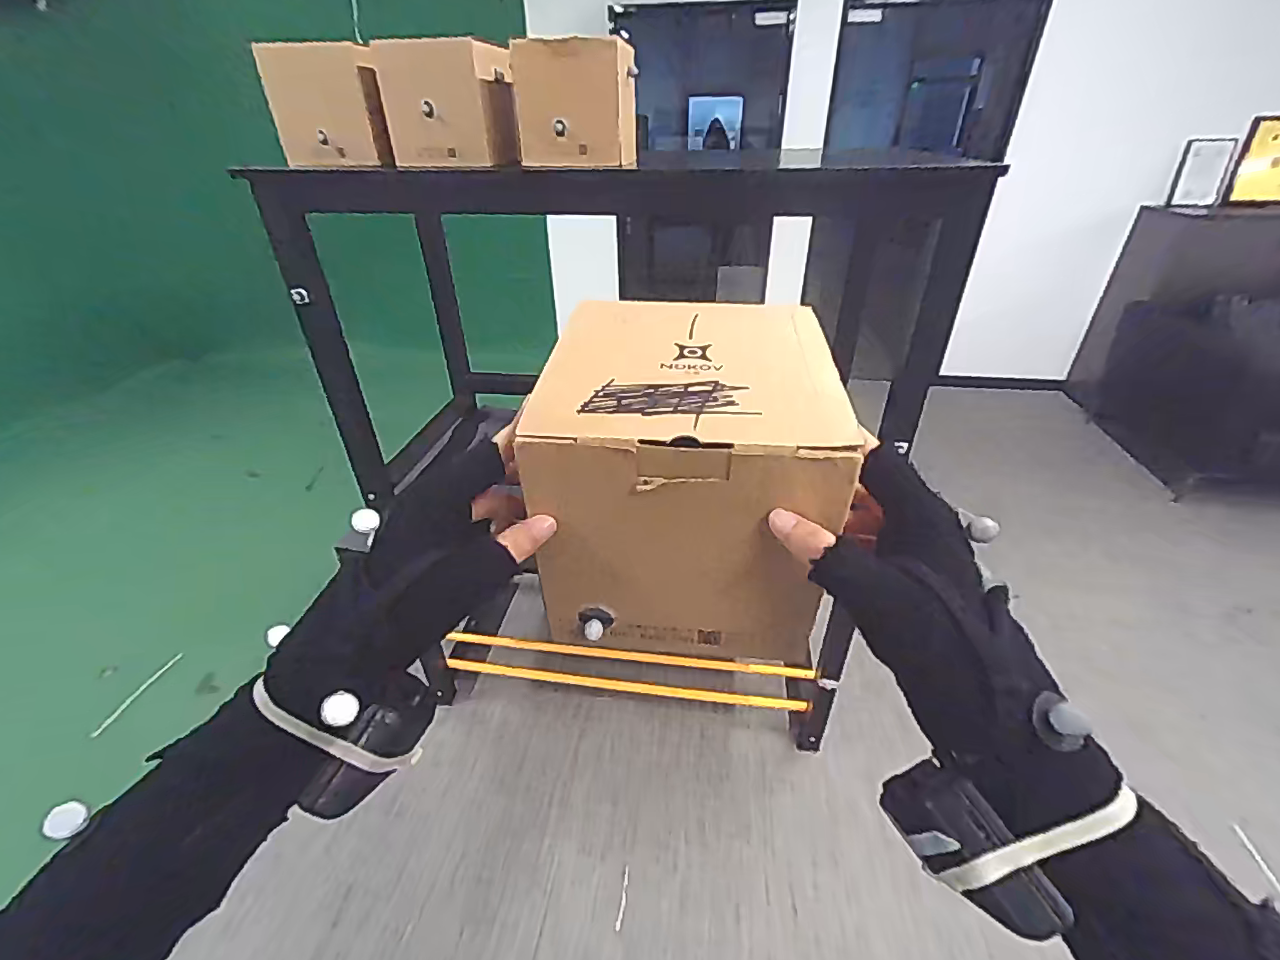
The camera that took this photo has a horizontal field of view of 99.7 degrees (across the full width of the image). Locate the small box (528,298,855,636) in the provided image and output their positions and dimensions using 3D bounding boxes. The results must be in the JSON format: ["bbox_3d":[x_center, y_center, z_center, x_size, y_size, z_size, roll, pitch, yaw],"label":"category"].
[{"bbox_3d":[0.034,-0.013,0.378,0.168,0.176,0.179,4,39,5],"label":"small box"}]
